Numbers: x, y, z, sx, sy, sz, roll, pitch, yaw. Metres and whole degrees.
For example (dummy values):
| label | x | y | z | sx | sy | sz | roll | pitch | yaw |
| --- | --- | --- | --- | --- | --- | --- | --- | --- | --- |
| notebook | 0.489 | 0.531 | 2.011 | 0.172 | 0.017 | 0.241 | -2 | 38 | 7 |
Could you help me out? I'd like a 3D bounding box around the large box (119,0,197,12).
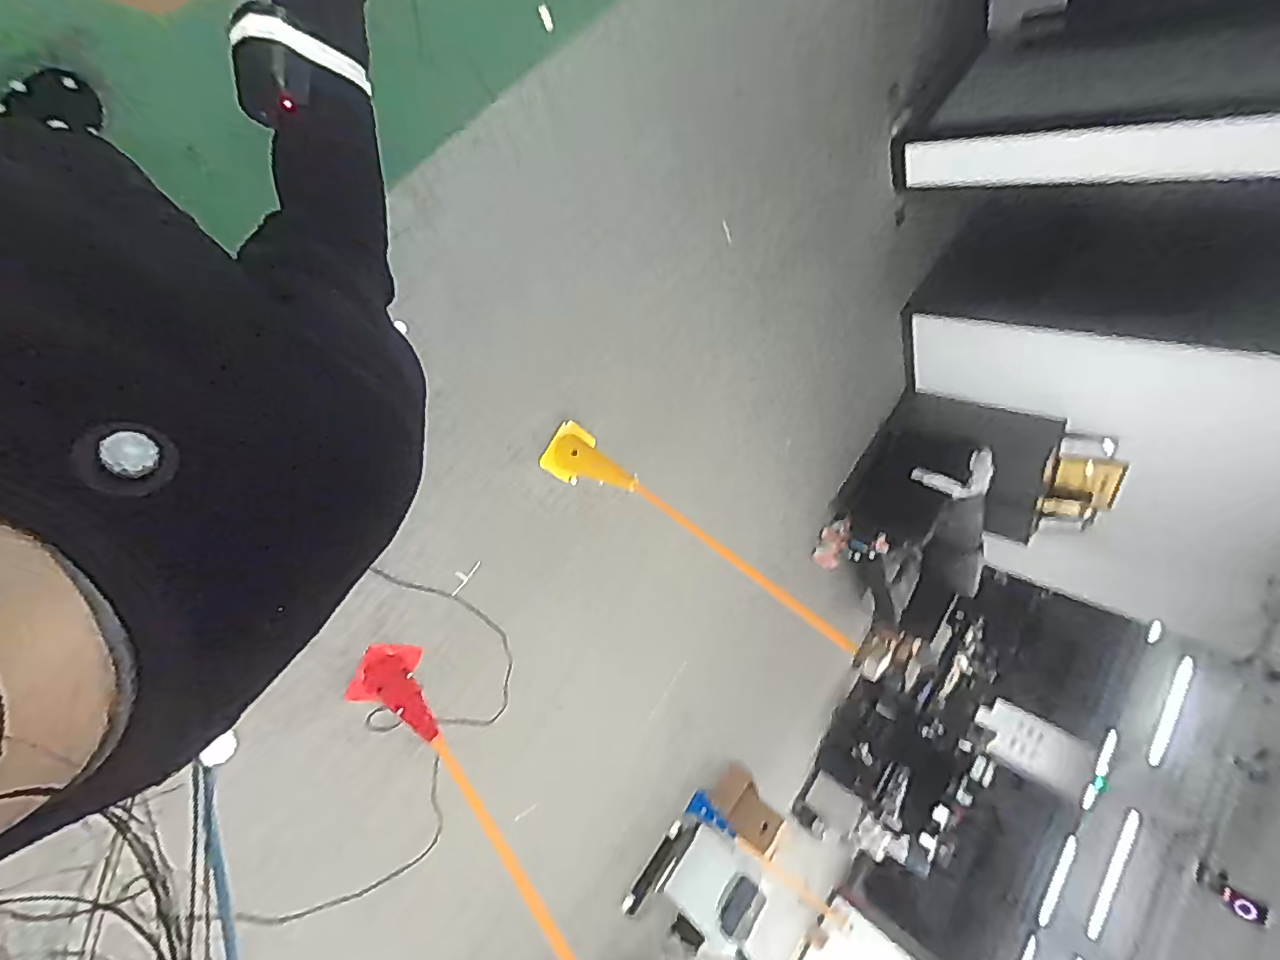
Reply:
| label | x | y | z | sx | sy | sz | roll | pitch | yaw |
| --- | --- | --- | --- | --- | --- | --- | --- | --- | --- |
| large box | -0.479 | -0.517 | 0.274 | 0.408 | 0.320 | 0.320 | -18 | 124 | -47 |
